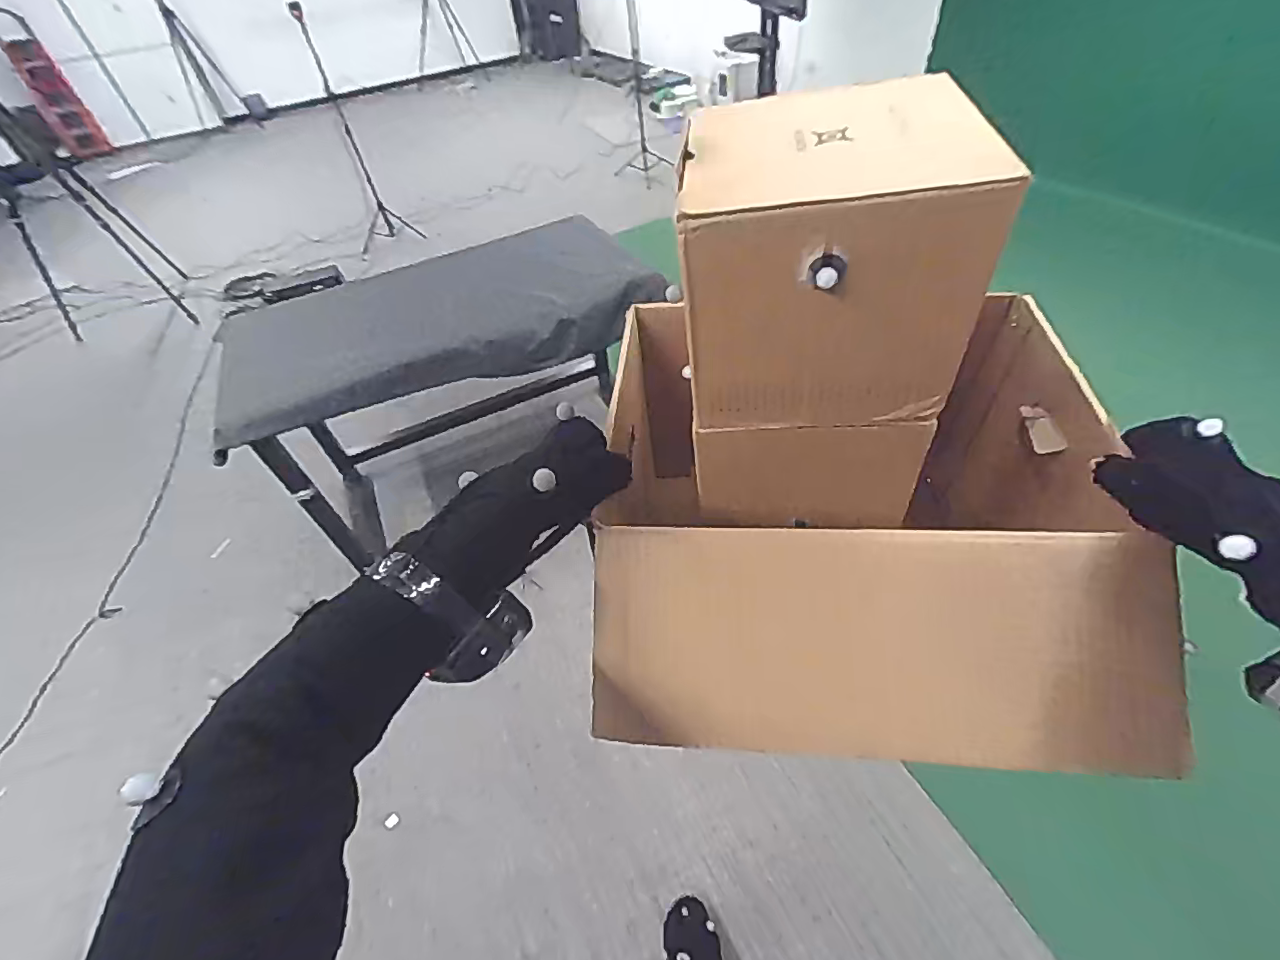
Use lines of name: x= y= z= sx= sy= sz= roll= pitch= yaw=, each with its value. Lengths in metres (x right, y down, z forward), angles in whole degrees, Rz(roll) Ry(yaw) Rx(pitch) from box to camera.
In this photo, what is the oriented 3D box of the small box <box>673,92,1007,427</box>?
small box: x=0.121 y=-0.153 z=0.400 sx=0.179 sy=0.176 sz=0.168 roll=-2 pitch=51 yaw=8
